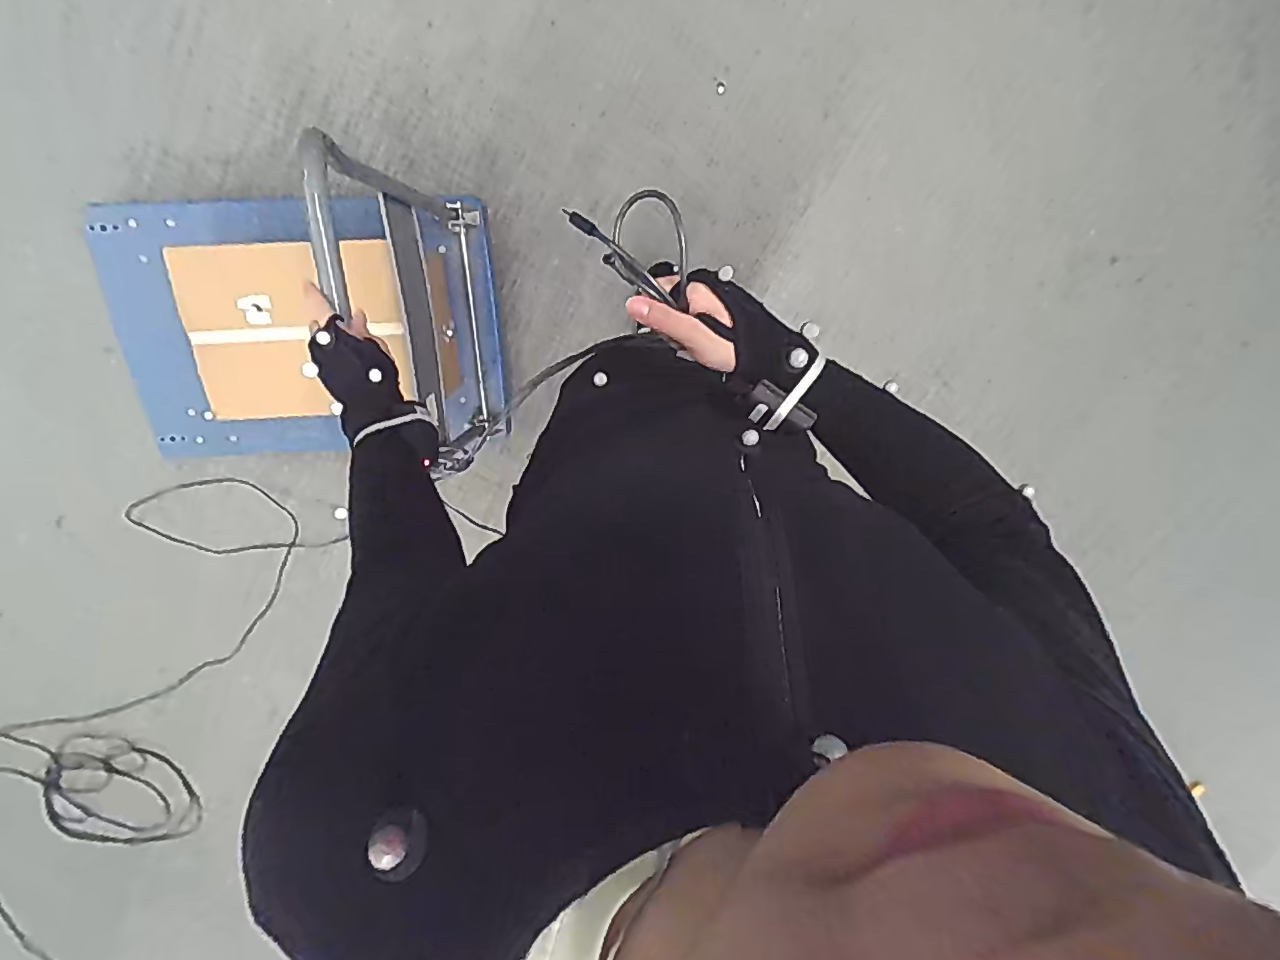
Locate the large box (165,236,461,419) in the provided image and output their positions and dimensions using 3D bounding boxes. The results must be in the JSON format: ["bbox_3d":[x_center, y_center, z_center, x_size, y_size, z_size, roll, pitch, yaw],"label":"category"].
[{"bbox_3d":[-0.636,-0.325,1.142,0.408,0.320,0.320,-3,109,-2],"label":"large box"}]
